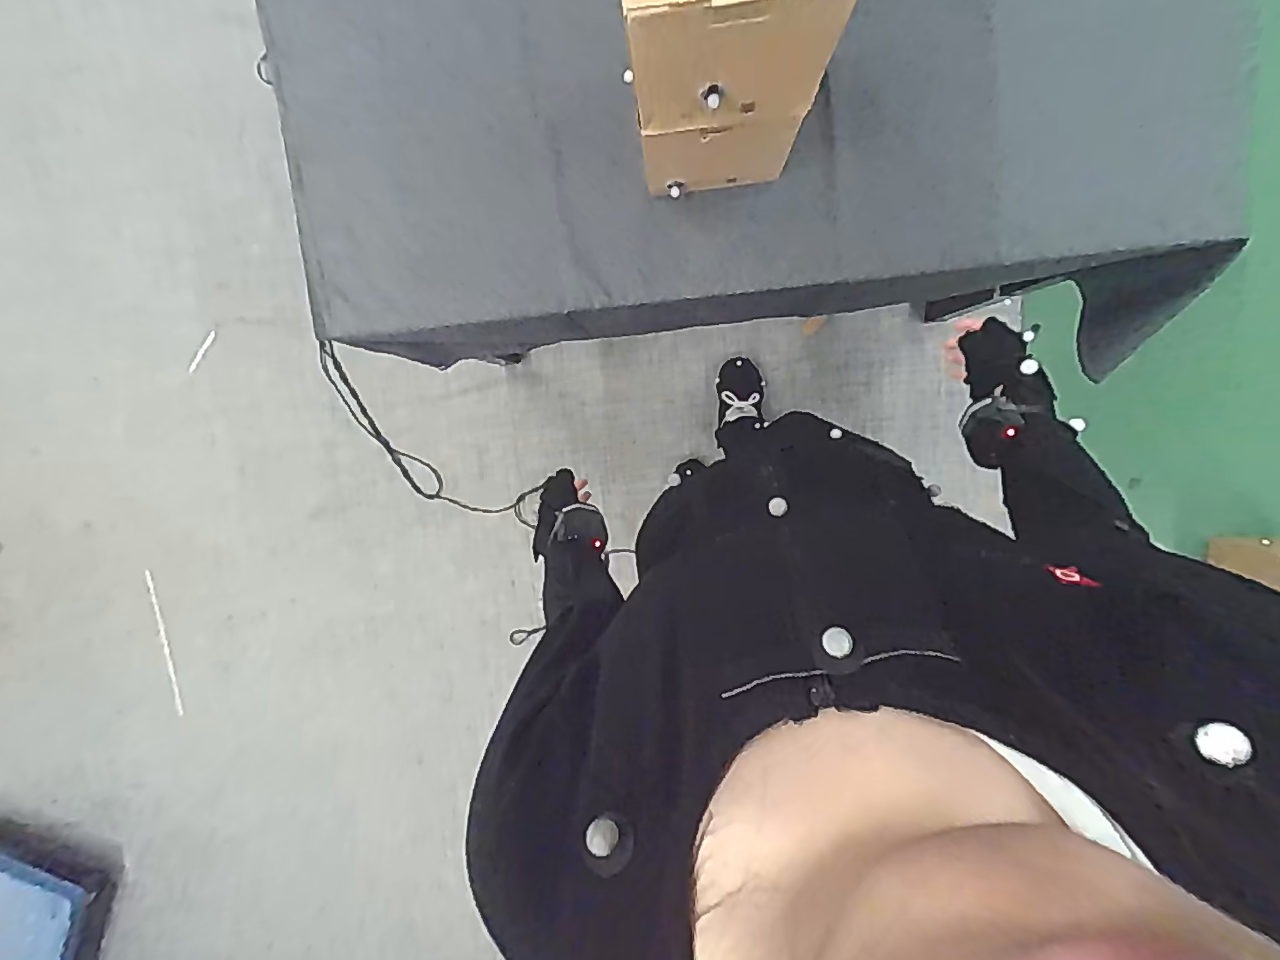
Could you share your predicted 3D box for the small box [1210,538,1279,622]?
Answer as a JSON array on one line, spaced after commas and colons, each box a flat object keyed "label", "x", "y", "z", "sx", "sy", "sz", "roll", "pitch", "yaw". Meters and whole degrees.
[{"label": "small box", "x": 1.559, "y": 0.239, "z": 1.313, "sx": 0.179, "sy": 0.176, "sz": 0.168, "roll": 0, "pitch": 98, "yaw": 5}]

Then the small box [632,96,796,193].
[{"label": "small box", "x": 0.076, "y": -0.448, "z": 0.613, "sx": 0.168, "sy": 0.176, "sz": 0.179, "roll": -5, "pitch": 96, "yaw": 5}]

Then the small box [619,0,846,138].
[{"label": "small box", "x": 0.064, "y": -0.427, "z": 0.452, "sx": 0.168, "sy": 0.176, "sz": 0.179, "roll": -5, "pitch": 97, "yaw": 5}]
